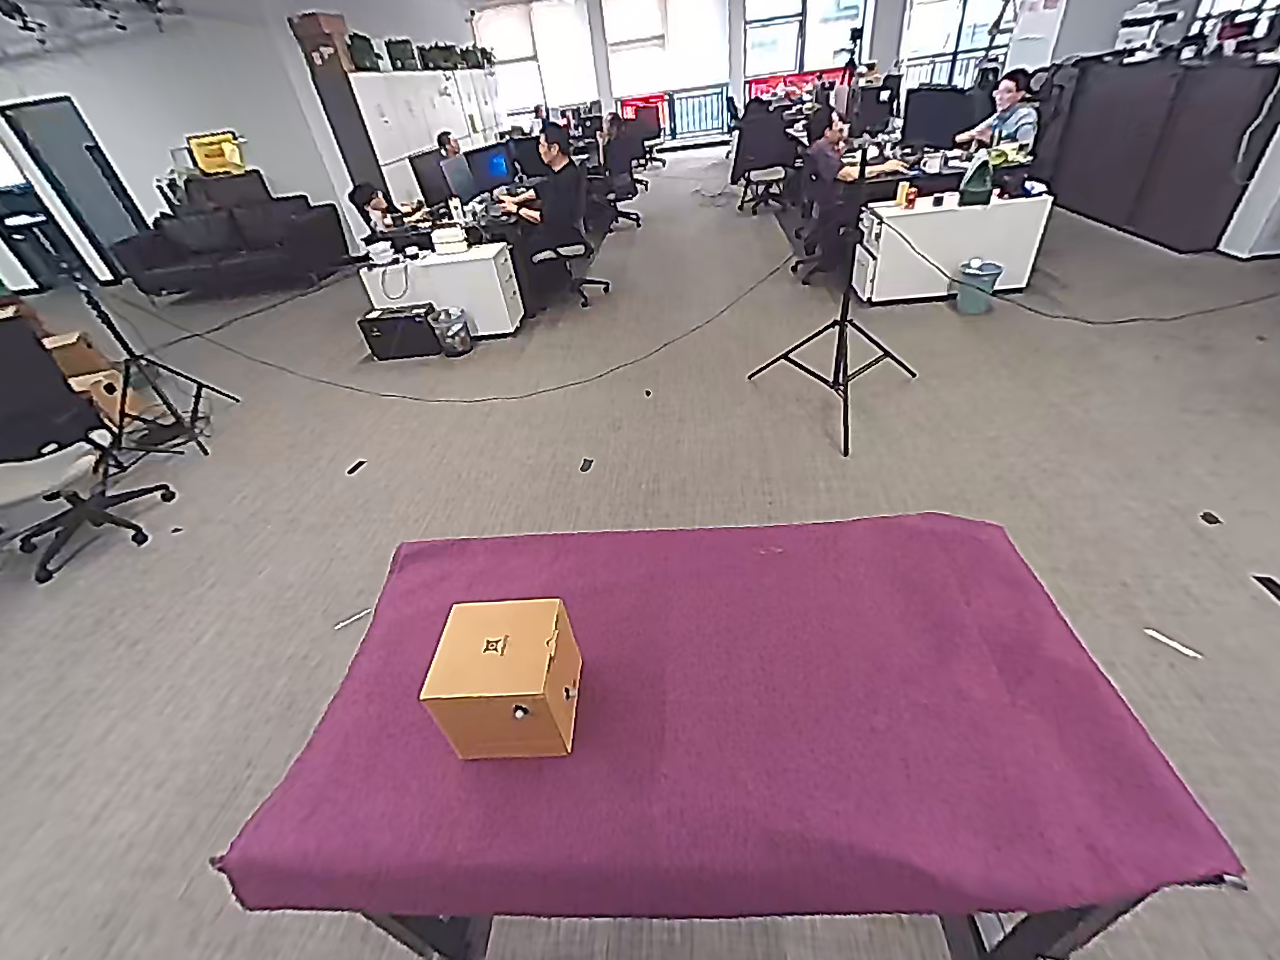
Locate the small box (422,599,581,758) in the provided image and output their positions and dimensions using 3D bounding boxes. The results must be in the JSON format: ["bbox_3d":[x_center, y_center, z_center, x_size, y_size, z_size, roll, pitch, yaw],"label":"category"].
[{"bbox_3d":[-0.198,0.305,0.829,0.179,0.176,0.168,-4,37,4],"label":"small box"}]
